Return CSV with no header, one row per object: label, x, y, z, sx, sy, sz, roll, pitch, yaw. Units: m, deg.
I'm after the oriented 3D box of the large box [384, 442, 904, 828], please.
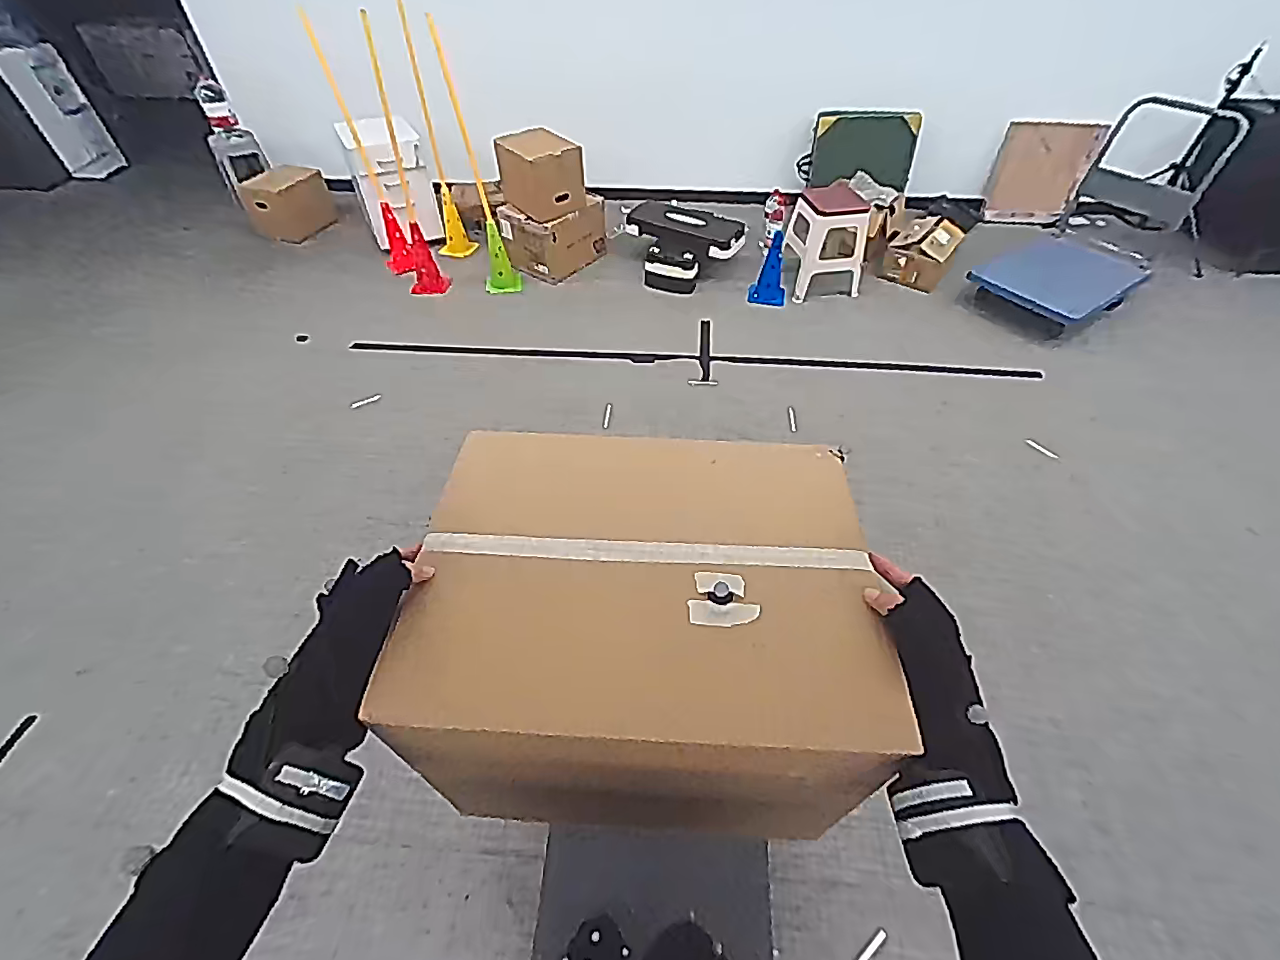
large box,0.005,0.177,0.614,0.408,0.320,0.320,3,47,2
